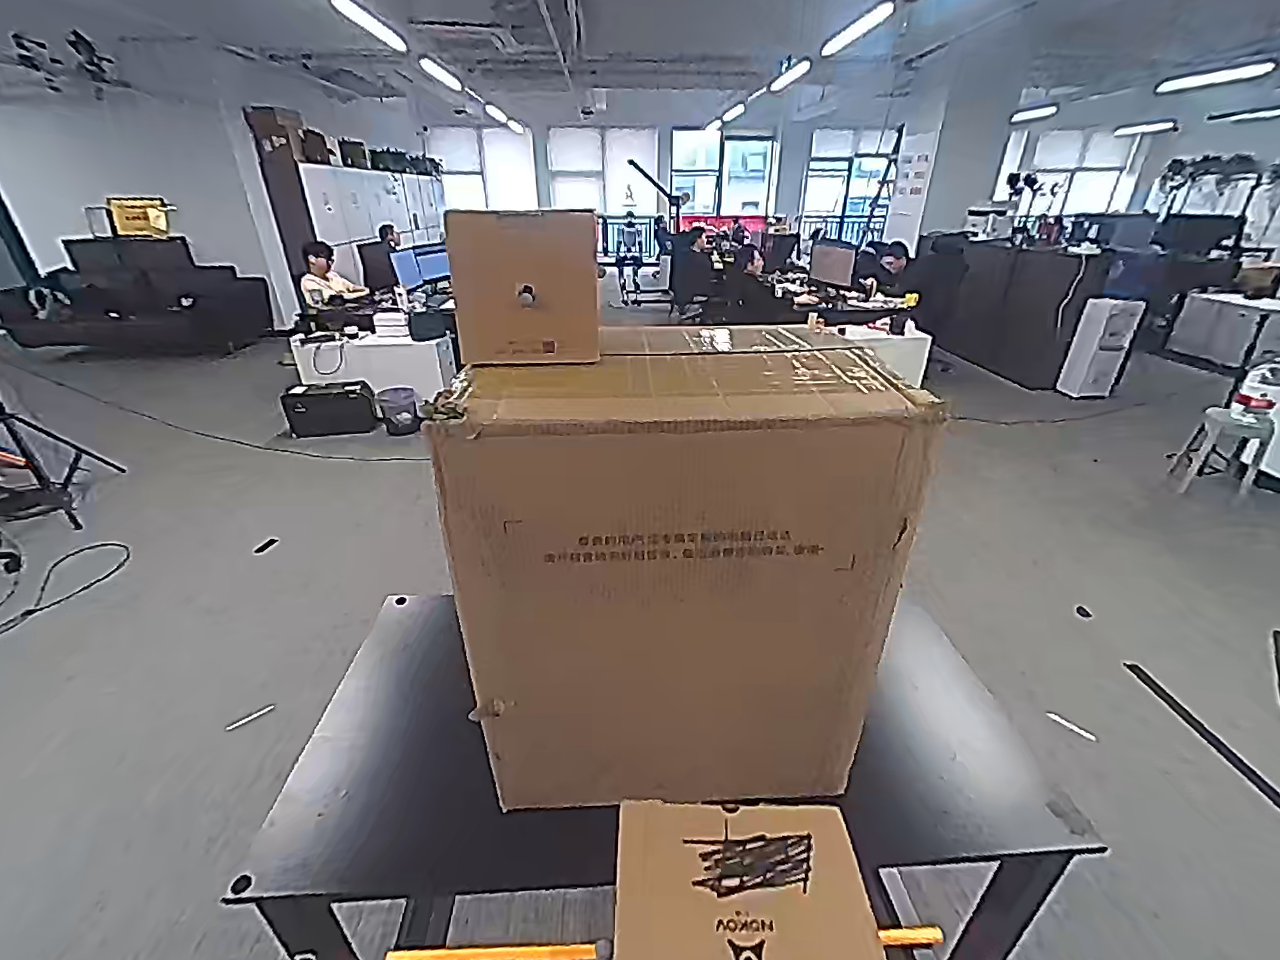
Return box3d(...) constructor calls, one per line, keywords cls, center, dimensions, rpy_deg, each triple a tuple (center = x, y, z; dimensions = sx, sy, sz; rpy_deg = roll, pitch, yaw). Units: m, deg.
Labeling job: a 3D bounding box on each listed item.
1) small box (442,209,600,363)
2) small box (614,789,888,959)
box3d(cls="small box", center=(-0.139, -0.249, 0.691), dimensions=(0.168, 0.176, 0.179), rpy_deg=(-2, 27, -6))
box3d(cls="small box", center=(0.064, 0.349, 0.371), dimensions=(0.168, 0.176, 0.179), rpy_deg=(2, 28, 0))
